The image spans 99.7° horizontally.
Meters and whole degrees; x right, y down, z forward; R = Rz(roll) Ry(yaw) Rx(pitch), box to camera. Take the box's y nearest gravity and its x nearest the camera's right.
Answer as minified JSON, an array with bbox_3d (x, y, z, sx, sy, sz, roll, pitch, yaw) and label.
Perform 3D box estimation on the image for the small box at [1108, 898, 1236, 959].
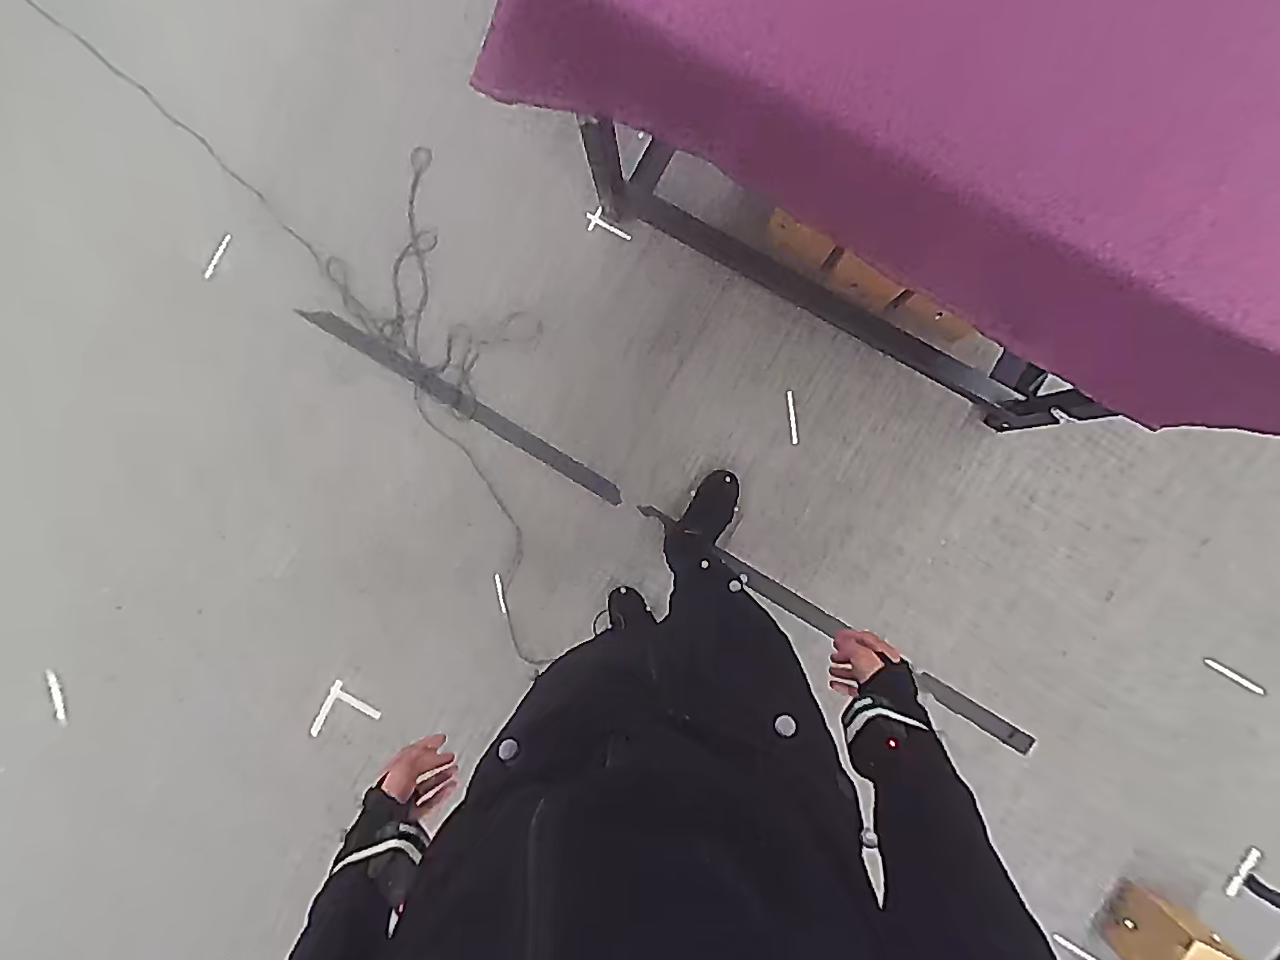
[{"bbox_3d":[1.274,1.142,1.267,0.179,0.176,0.168,27,92,4],"label":"small box"}]
